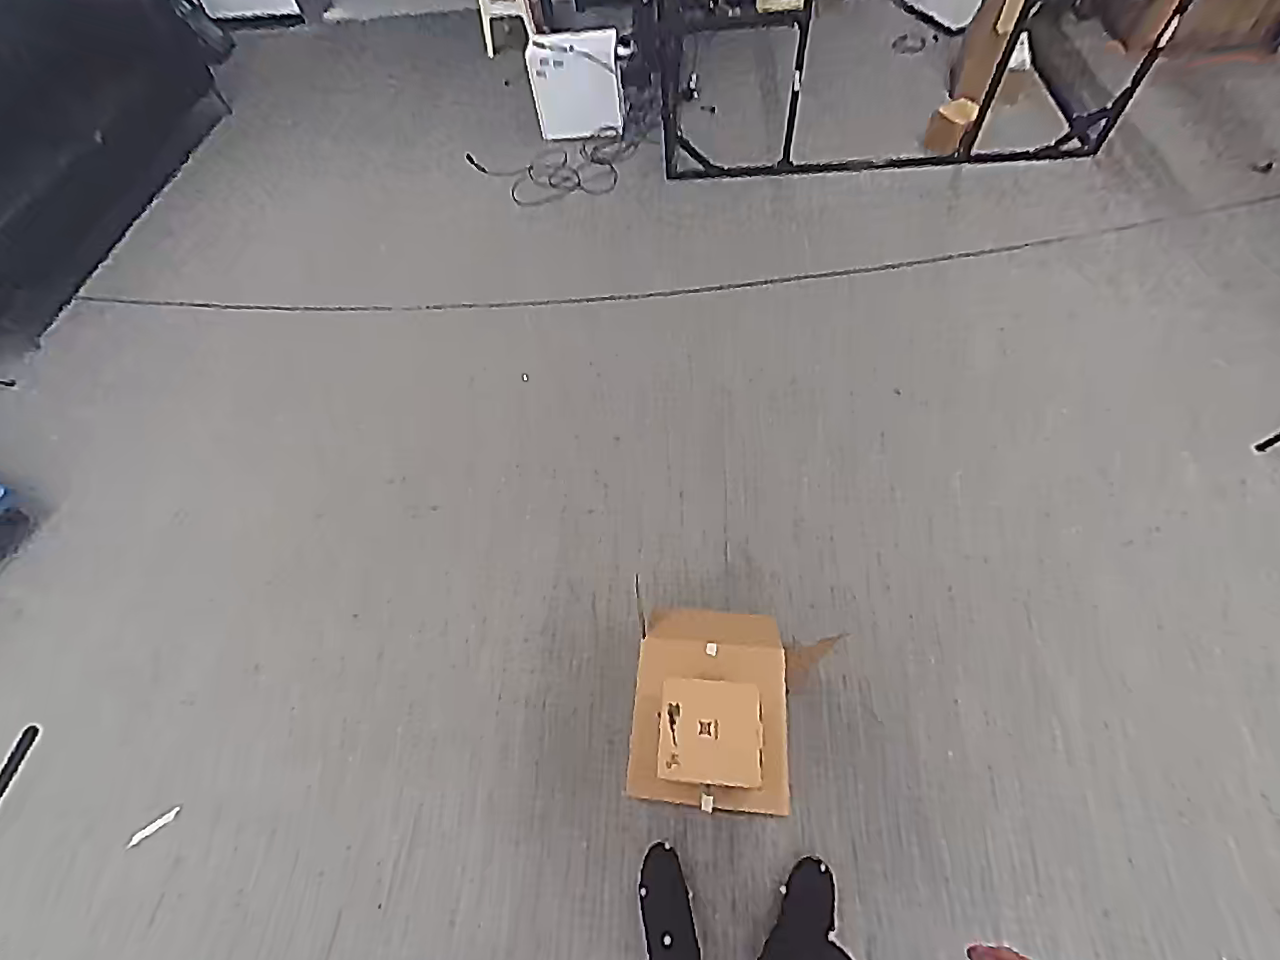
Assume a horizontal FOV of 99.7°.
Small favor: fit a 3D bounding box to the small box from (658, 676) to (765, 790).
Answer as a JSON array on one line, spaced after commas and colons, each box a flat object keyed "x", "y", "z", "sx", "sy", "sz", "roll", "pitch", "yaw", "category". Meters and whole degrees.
[{"x": 0.130, "y": 0.467, "z": 0.996, "sx": 0.179, "sy": 0.176, "sz": 0.168, "roll": 3, "pitch": 61, "yaw": 7, "category": "small box"}]
